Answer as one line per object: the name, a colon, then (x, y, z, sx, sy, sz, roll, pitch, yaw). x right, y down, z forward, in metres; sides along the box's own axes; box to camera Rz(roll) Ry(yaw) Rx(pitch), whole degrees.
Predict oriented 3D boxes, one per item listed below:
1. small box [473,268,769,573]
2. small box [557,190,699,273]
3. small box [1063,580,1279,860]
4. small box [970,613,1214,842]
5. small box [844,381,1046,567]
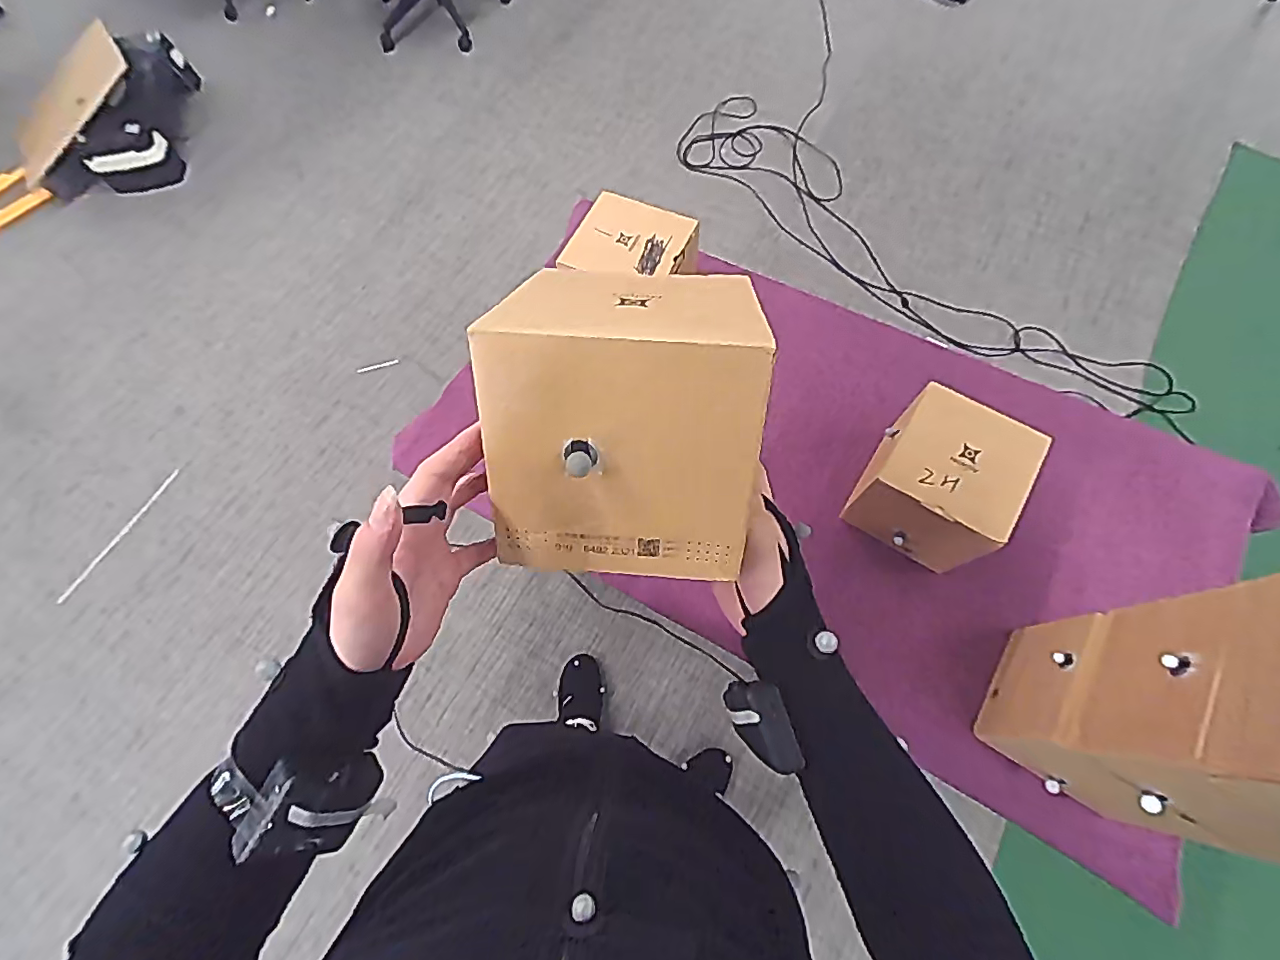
small box: (-0.005, -0.050, 0.401, 0.168, 0.176, 0.179, 4, 32, 3)
small box: (-0.014, -0.346, 0.924, 0.179, 0.176, 0.168, 24, 72, 12)
small box: (0.549, 0.223, 0.505, 0.168, 0.176, 0.179, 31, 73, 15)
small box: (0.552, 0.286, 0.656, 0.179, 0.176, 0.168, 31, 72, 14)
small box: (0.420, -0.001, 0.774, 0.168, 0.176, 0.179, 32, 74, 14)
